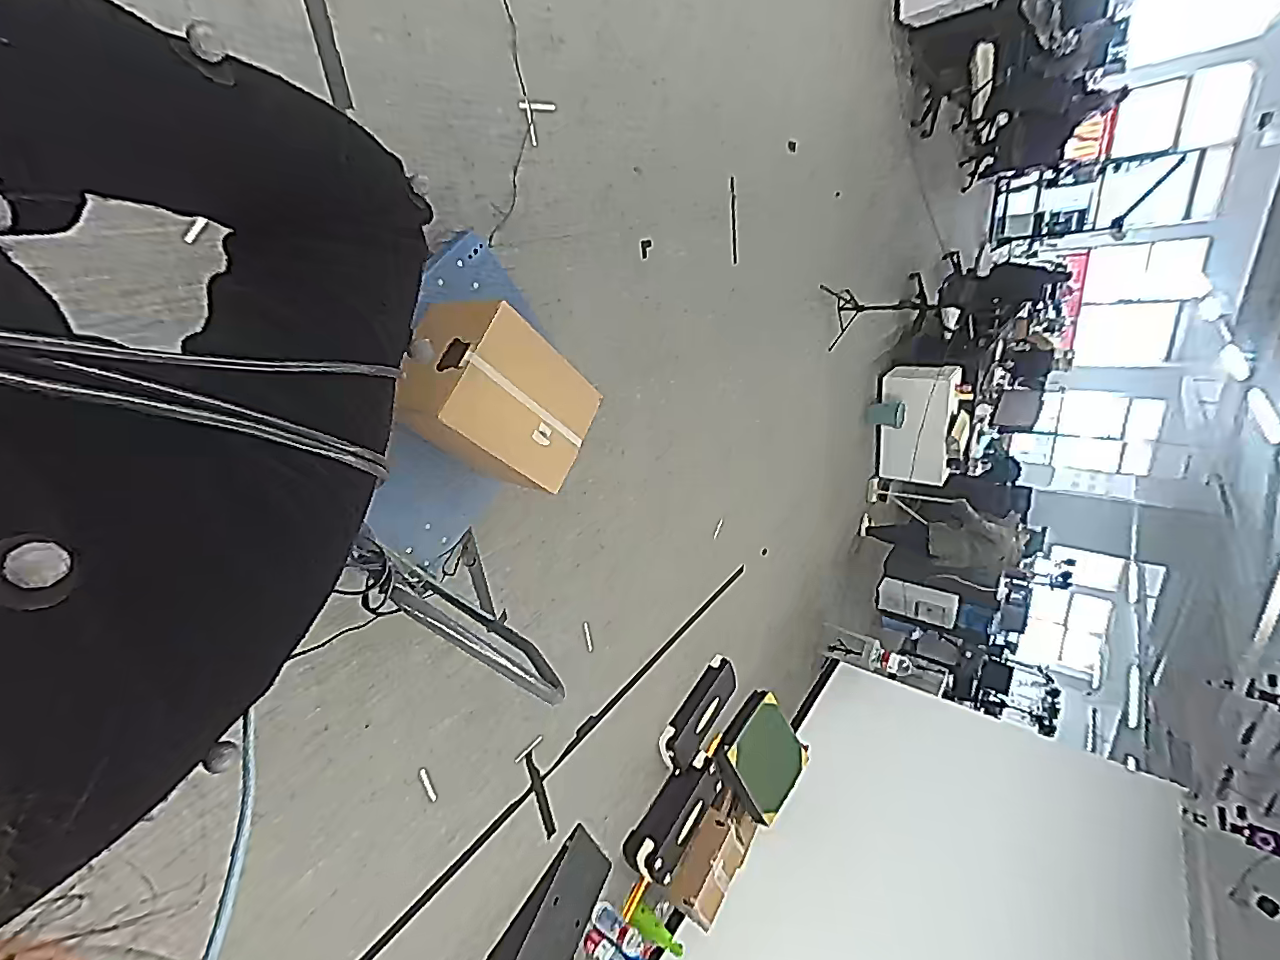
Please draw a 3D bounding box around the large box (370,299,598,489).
[{"bbox_3d":[-0.389,-0.214,1.400,0.408,0.320,0.320,41,68,-49],"label":"large box"}]
